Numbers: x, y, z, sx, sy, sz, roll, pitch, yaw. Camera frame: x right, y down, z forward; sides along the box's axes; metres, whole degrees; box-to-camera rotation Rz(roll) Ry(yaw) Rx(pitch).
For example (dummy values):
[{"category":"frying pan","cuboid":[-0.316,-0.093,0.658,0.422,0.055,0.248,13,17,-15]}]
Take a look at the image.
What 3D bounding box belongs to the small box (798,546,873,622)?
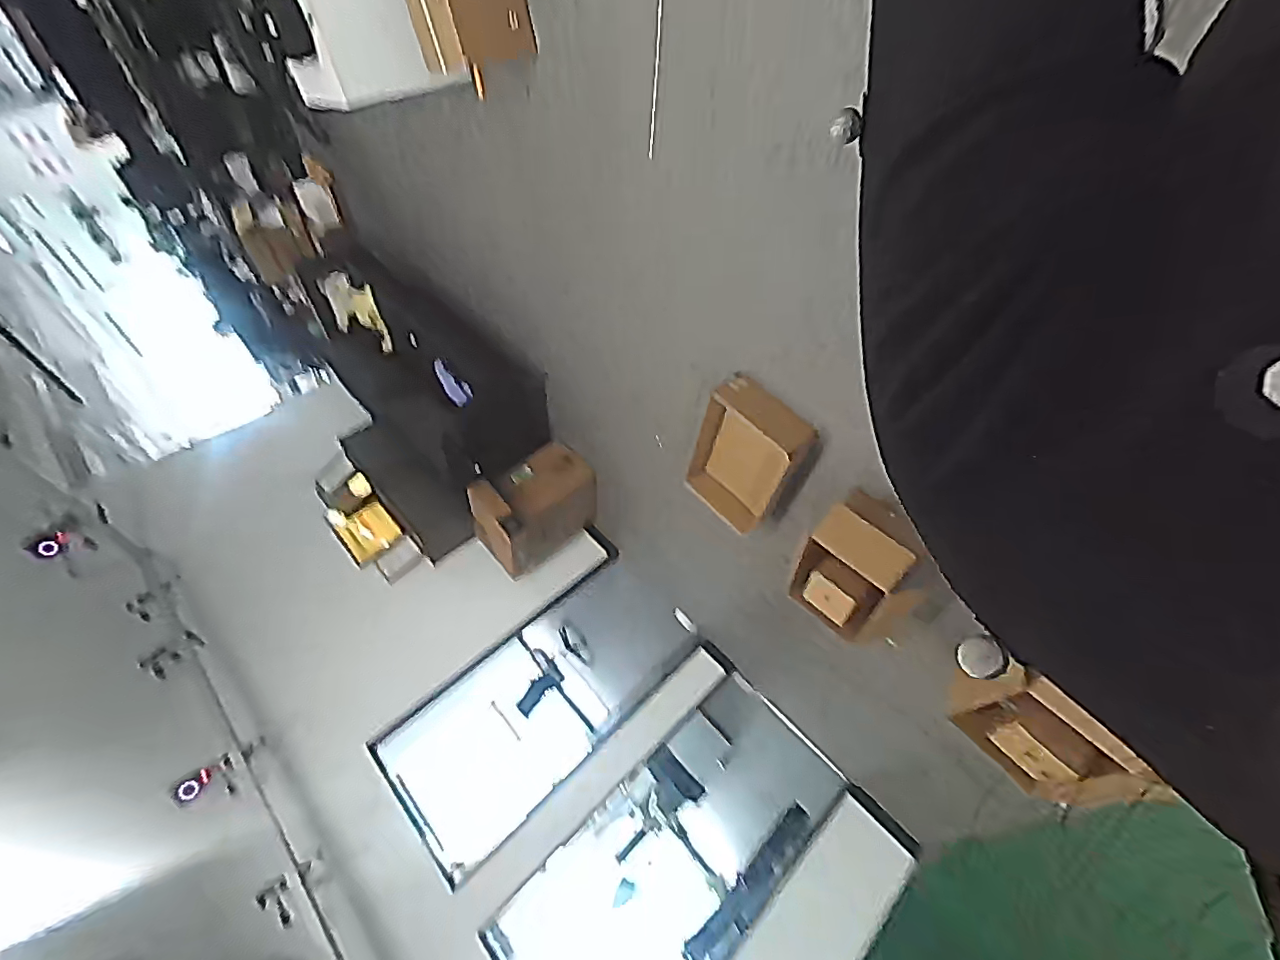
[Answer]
[{"category":"small box","cuboid":[0.704,0.368,1.940,0.168,0.176,0.179,40,148,28]}]
